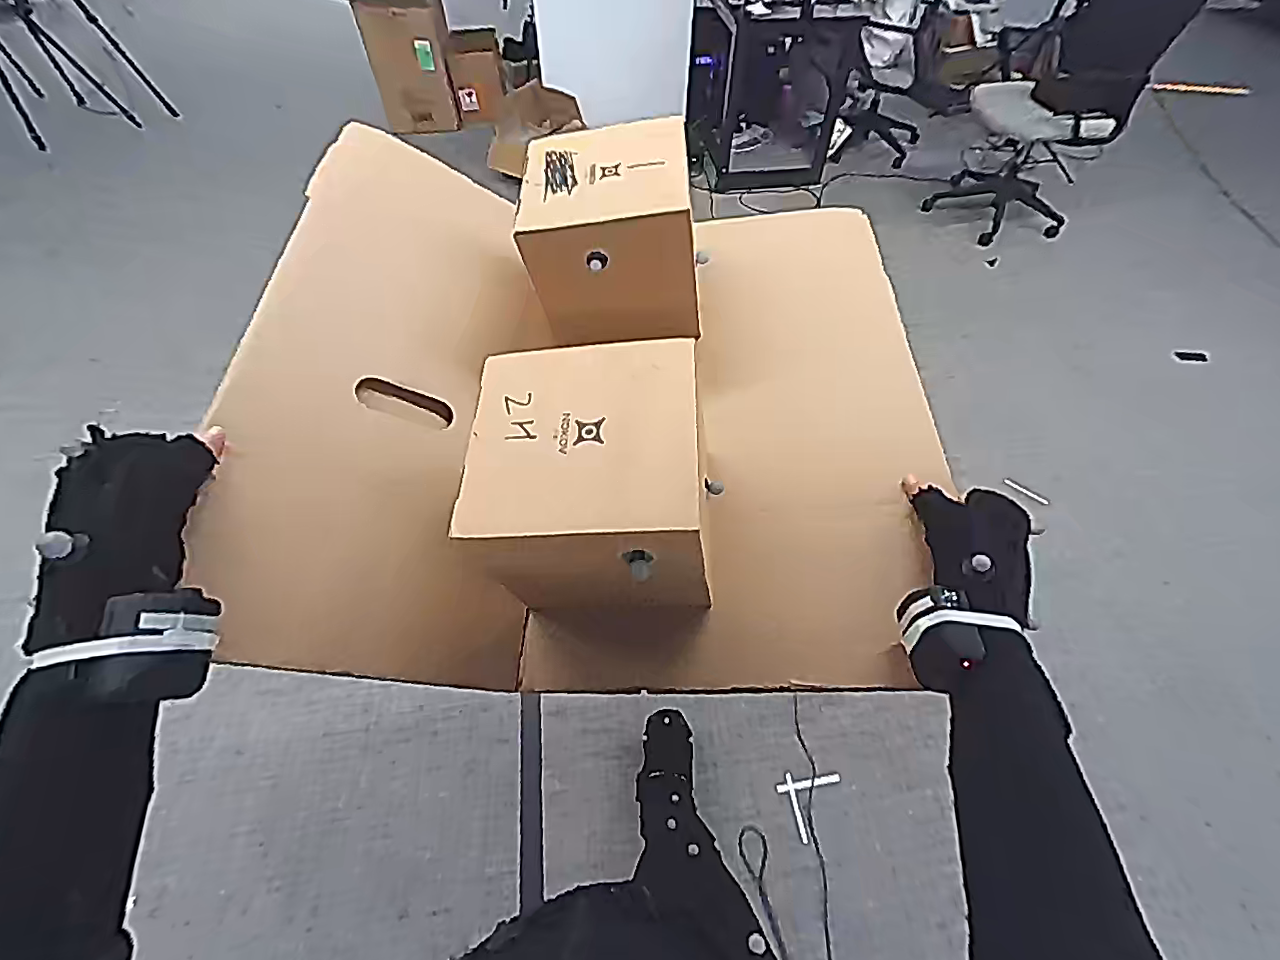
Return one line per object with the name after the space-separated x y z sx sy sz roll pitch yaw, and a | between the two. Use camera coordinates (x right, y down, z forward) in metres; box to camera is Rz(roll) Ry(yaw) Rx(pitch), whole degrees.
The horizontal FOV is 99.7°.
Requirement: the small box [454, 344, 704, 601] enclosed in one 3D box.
-0.033 0.004 0.480 0.179 0.176 0.168 -3 60 10 | small box

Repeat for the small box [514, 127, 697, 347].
-0.029 -0.275 0.638 0.179 0.176 0.168 -4 60 7 | small box
